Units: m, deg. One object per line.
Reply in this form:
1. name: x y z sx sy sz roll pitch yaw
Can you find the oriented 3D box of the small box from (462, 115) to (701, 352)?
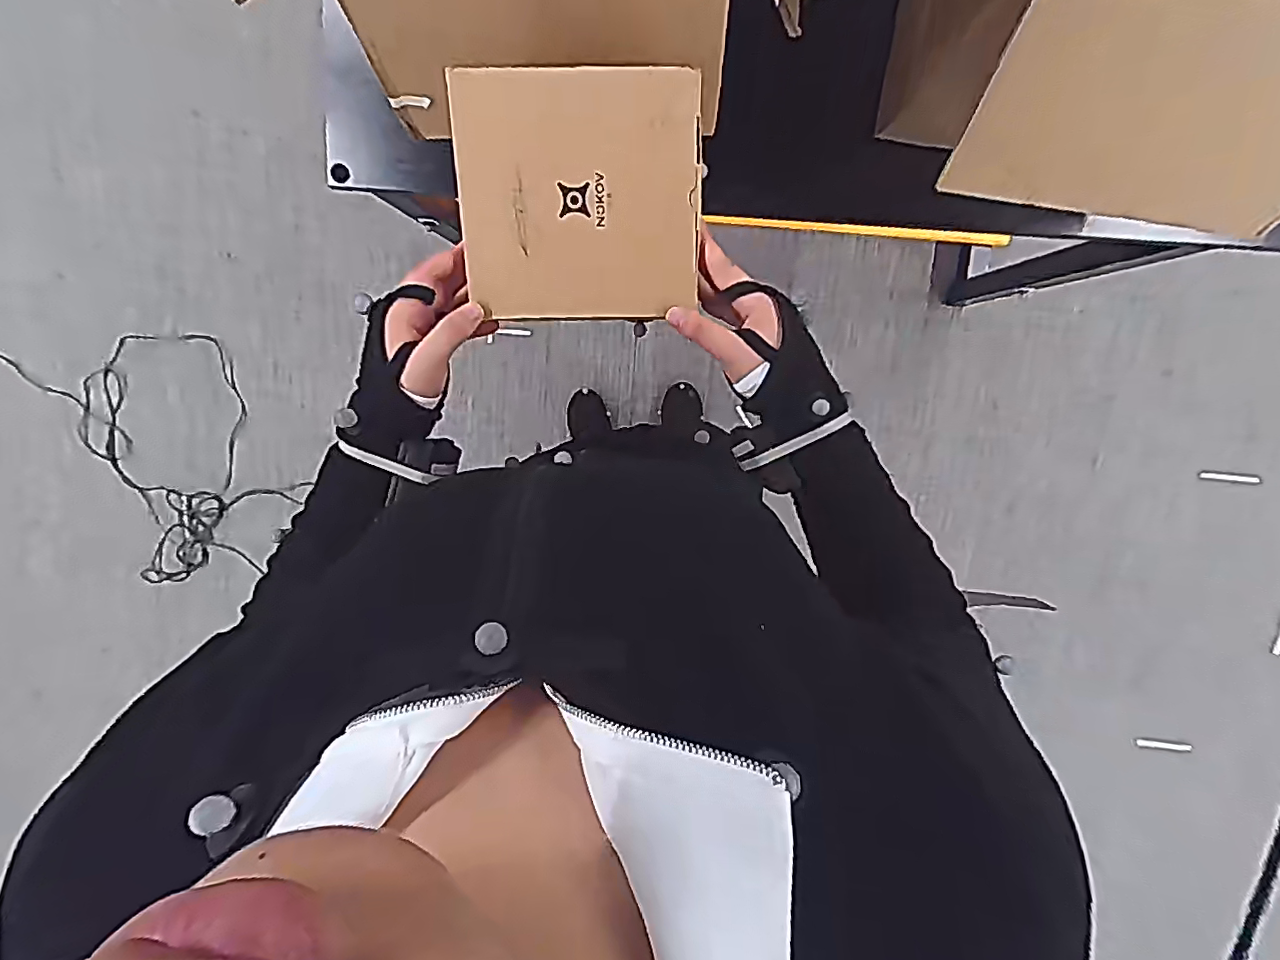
1. small box: -0.042 -0.204 0.487 0.179 0.176 0.168 -2 104 0
